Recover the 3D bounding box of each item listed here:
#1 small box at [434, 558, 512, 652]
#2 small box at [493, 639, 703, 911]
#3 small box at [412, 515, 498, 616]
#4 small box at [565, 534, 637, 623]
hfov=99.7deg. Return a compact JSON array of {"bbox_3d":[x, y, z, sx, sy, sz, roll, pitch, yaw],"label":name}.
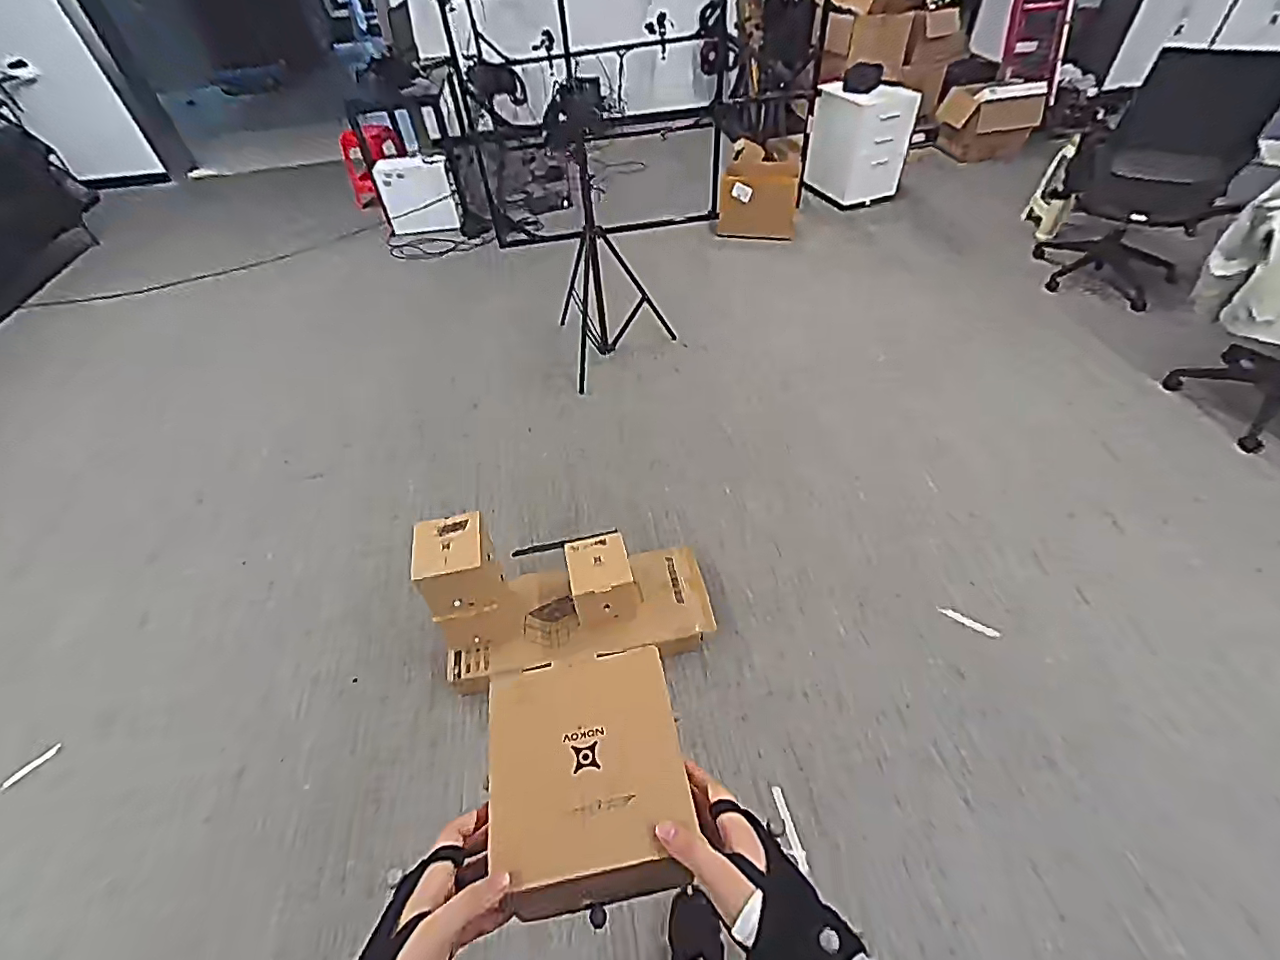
[{"bbox_3d":[-0.451,0.344,1.488,0.168,0.176,0.179,-10,47,-5],"label":"small box"},{"bbox_3d":[-0.044,0.285,0.528,0.168,0.176,0.179,-10,47,-7],"label":"small box"},{"bbox_3d":[-0.465,0.220,1.380,0.168,0.176,0.179,-11,47,-6],"label":"small box"},{"bbox_3d":[-0.108,0.285,1.521,0.168,0.176,0.179,-12,47,-5],"label":"small box"}]
